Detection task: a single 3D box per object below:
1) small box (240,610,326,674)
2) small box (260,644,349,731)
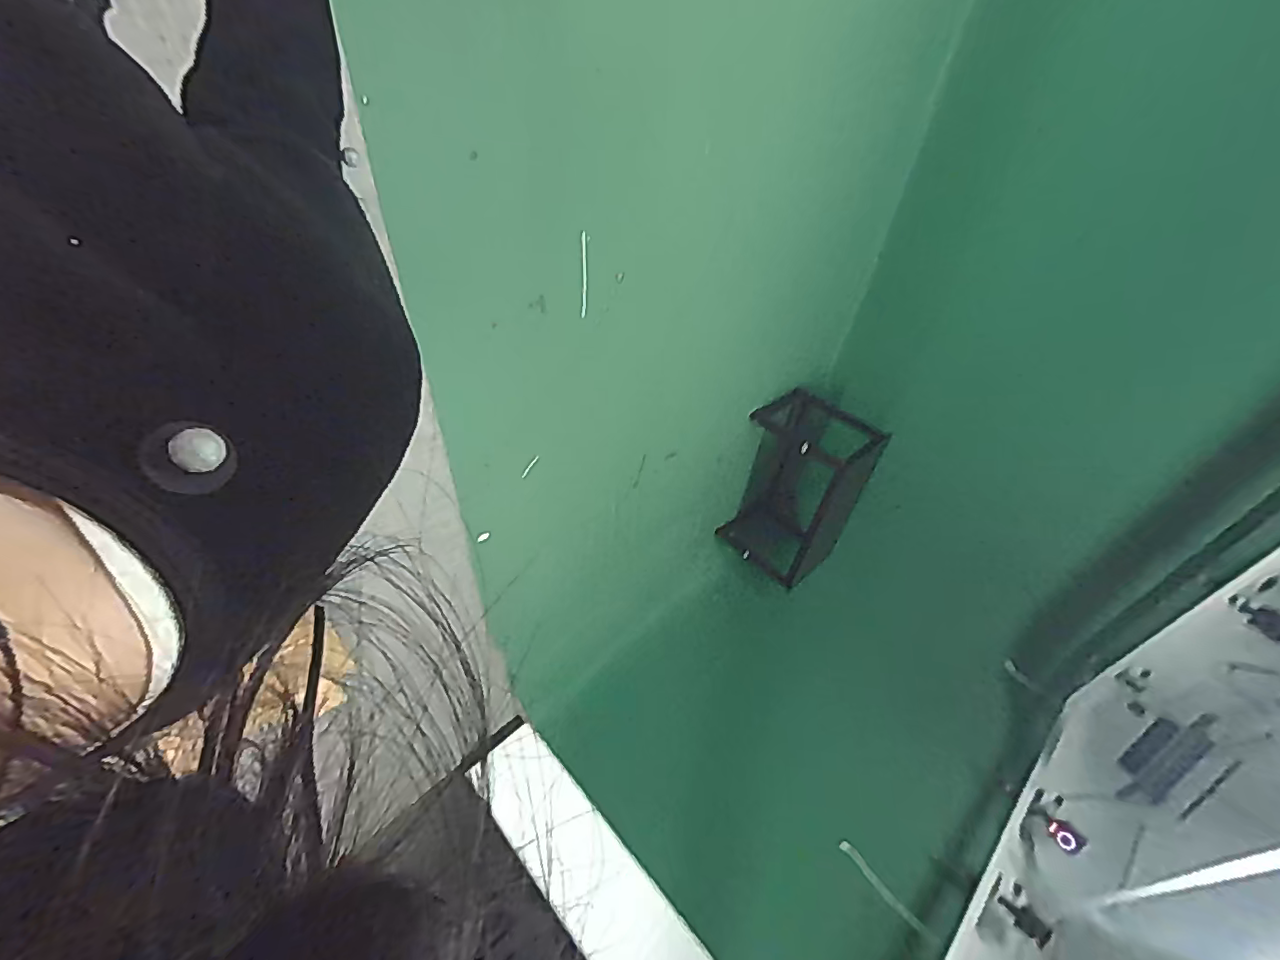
[{"bbox_3d":[-1.193,0.564,1.810,0.168,0.176,0.179,-33,146,-30],"label":"small box"},{"bbox_3d":[-1.078,0.656,1.735,0.168,0.176,0.179,-32,146,-30],"label":"small box"}]
